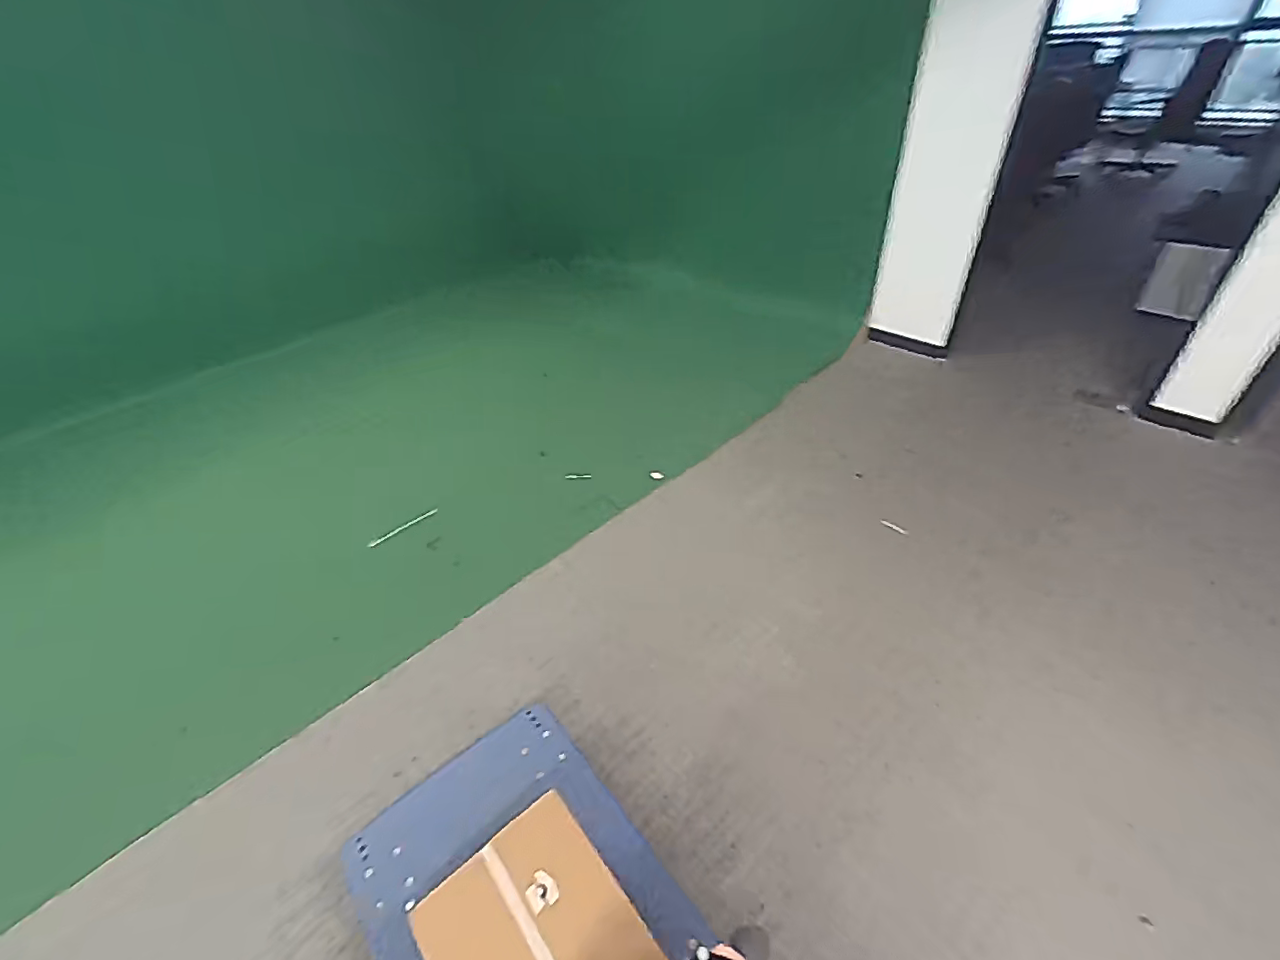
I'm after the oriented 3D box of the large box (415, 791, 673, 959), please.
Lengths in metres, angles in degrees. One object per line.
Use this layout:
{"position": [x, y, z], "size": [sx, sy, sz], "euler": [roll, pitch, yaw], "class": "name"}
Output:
{"position": [-0.150, 0.904, 1.010], "size": [0.320, 0.320, 0.408], "euler": [-30, 44, -26], "class": "large box"}
